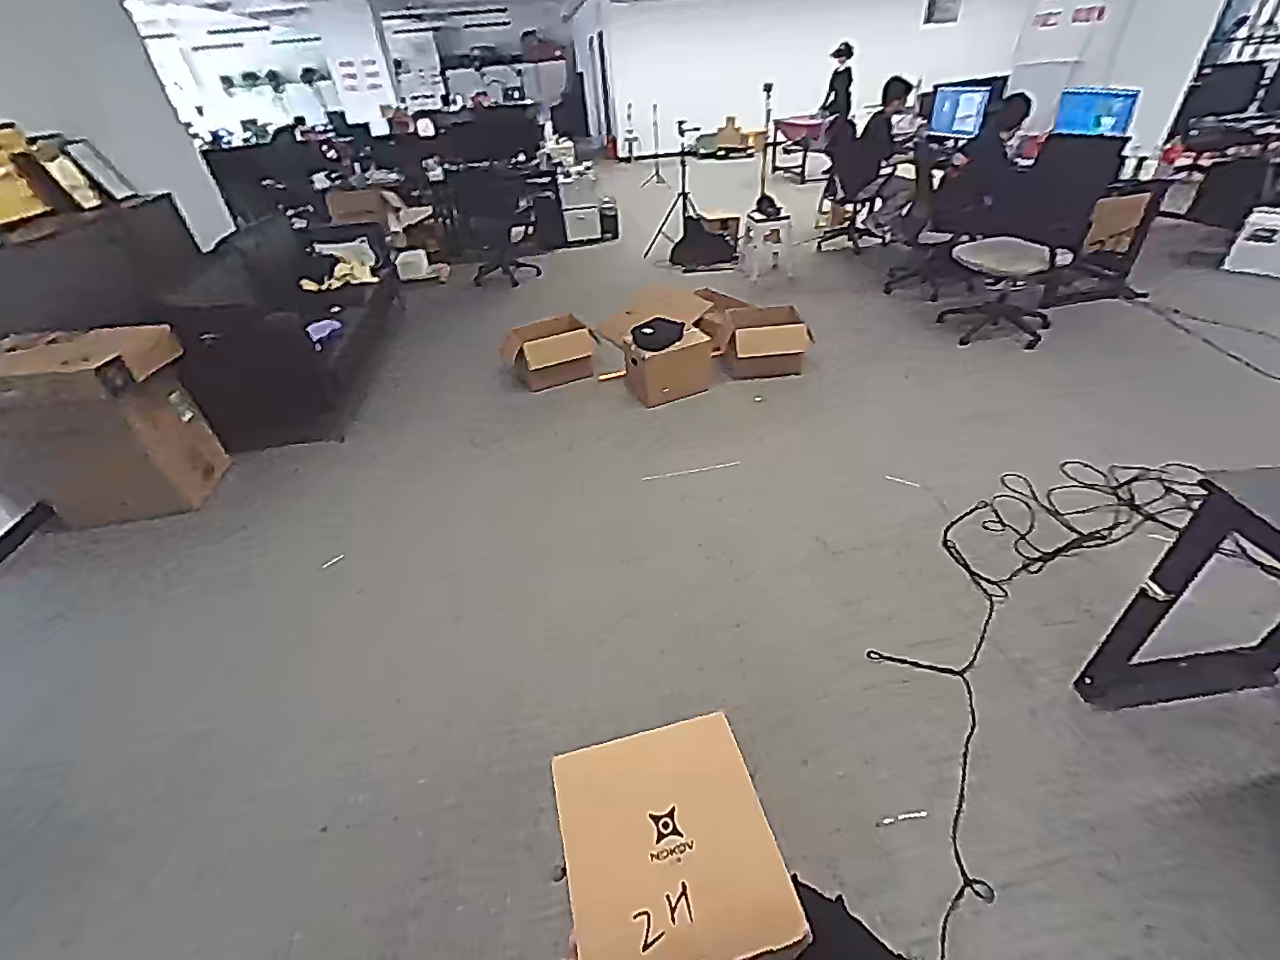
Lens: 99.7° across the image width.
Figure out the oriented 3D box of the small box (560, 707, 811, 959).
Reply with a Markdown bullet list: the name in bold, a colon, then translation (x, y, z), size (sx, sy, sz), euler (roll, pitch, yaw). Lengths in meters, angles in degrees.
- **small box**: translation (0.026, 0.342, 0.487), size (0.168, 0.176, 0.179), euler (-10, 41, -10)
